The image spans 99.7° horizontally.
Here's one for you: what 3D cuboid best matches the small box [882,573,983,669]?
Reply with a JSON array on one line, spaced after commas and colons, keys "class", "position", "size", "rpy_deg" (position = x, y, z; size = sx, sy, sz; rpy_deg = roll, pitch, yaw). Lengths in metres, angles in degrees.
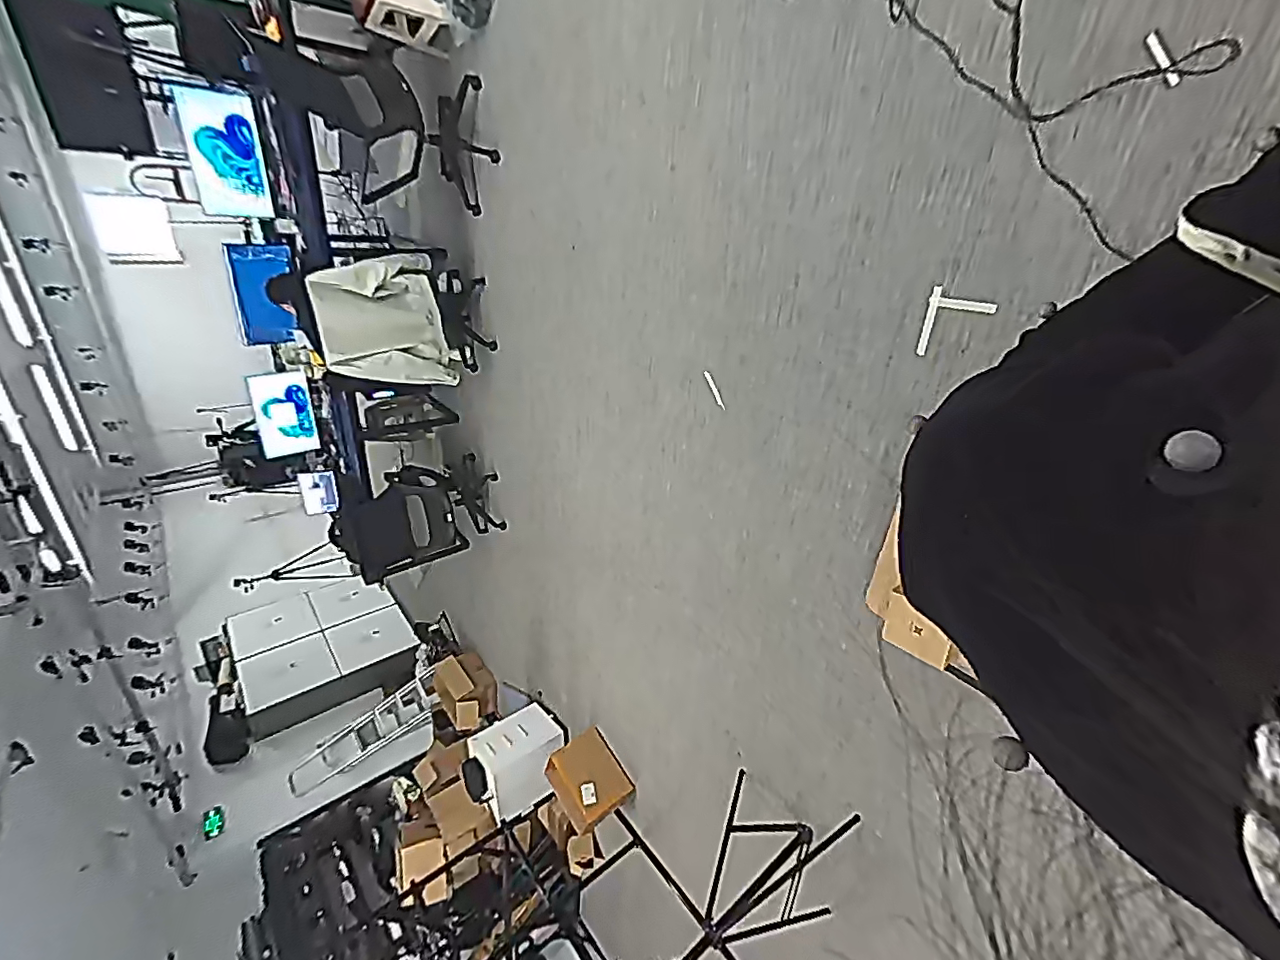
[{"class": "small box", "position": [0.804, 0.377, 1.490], "size": [0.179, 0.176, 0.168], "rpy_deg": [25, 124, 44]}]
